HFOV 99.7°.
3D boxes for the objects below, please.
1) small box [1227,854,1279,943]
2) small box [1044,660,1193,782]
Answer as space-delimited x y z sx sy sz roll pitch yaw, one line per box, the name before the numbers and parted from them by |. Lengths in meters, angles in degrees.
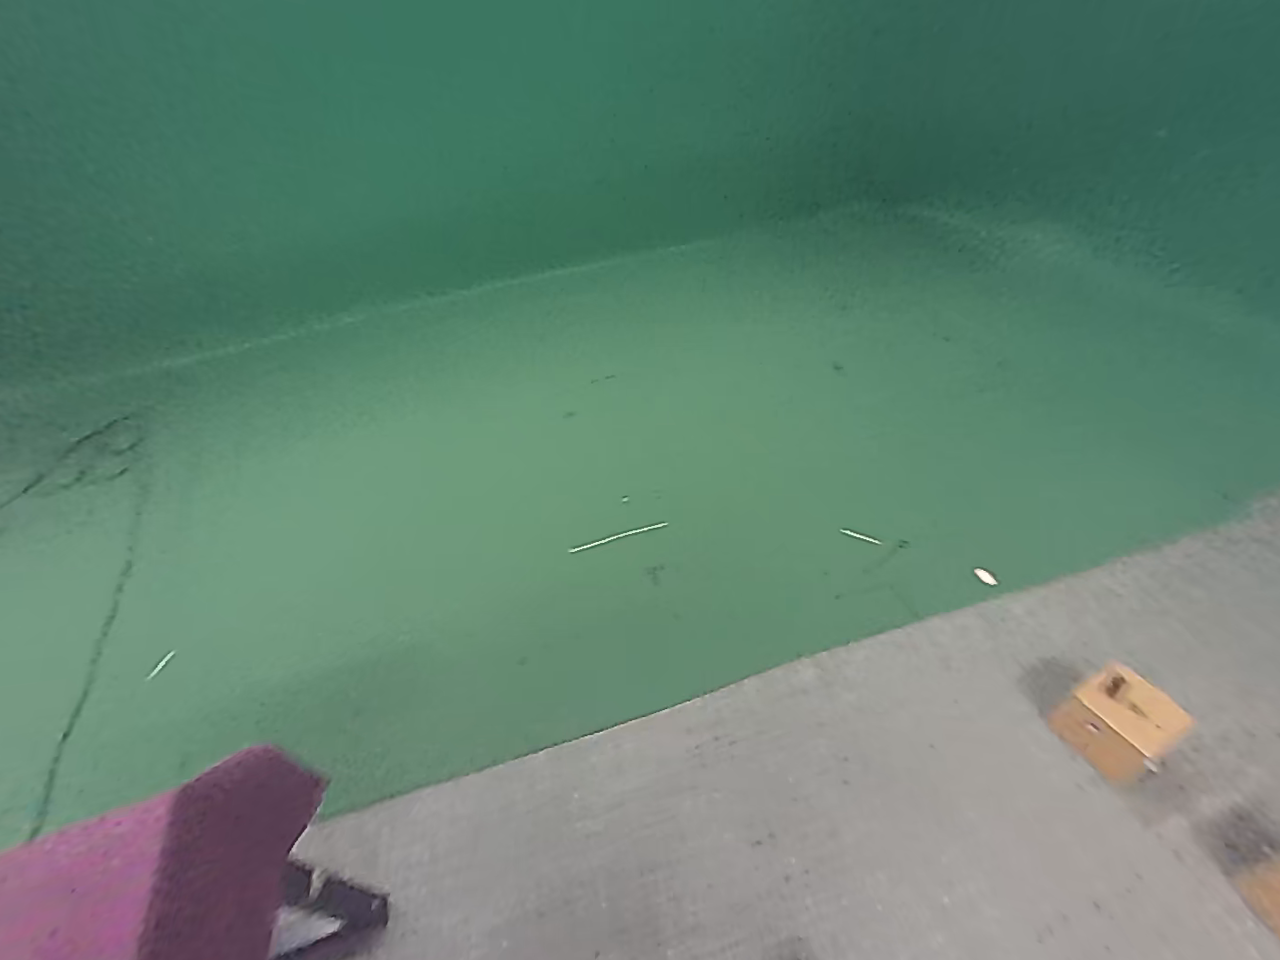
small box | 1.294 0.801 1.008 0.168 0.176 0.179 -15 44 -7
small box | 1.114 0.571 1.279 0.168 0.176 0.179 -24 46 -15
